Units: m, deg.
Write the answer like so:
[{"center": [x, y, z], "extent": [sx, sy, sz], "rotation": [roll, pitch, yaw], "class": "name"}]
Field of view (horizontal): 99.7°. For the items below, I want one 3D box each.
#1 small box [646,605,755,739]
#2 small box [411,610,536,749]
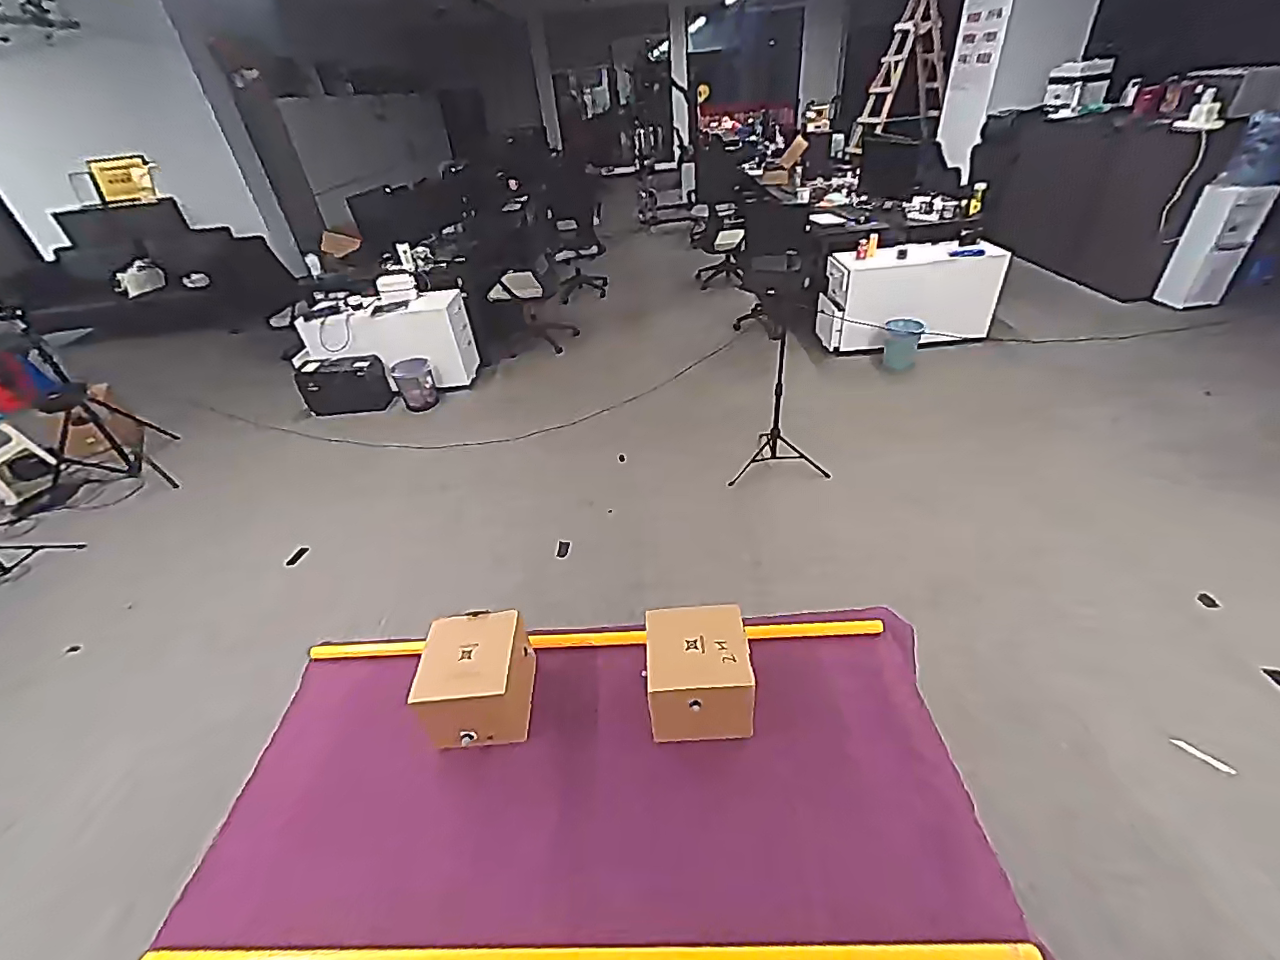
[{"center": [0.106, 0.347, 0.971], "extent": [0.179, 0.176, 0.168], "rotation": [-4, 38, 3], "class": "small box"}, {"center": [-0.294, 0.368, 1.002], "extent": [0.168, 0.176, 0.179], "rotation": [-6, 37, 1], "class": "small box"}]
